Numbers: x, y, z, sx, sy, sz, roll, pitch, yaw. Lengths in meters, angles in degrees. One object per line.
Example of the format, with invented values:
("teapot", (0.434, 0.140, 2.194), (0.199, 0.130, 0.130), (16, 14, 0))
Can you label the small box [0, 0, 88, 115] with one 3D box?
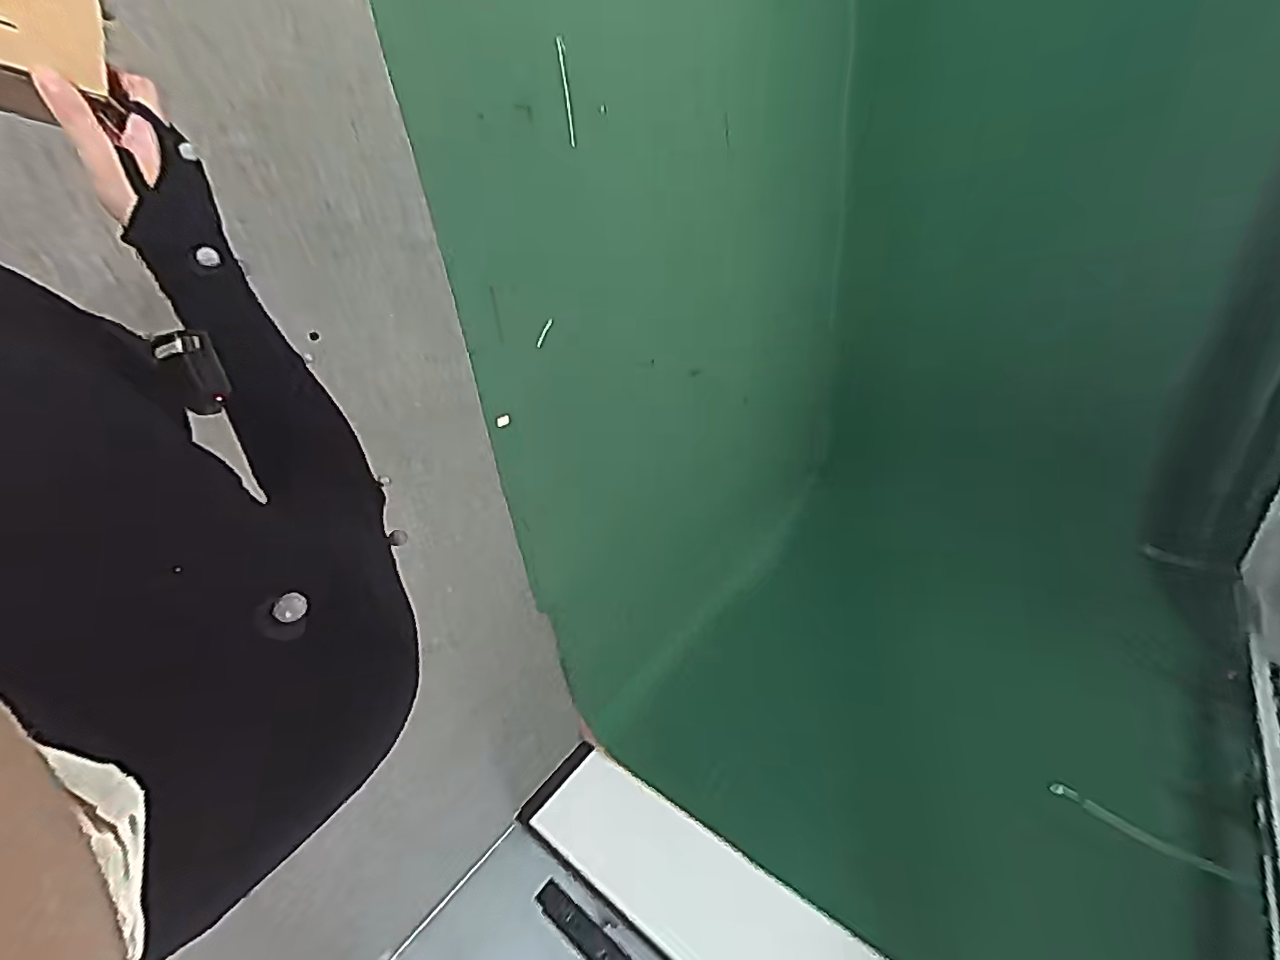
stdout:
("small box", (-0.511, -0.385, 0.371), (0.168, 0.176, 0.179), (-9, 110, -50))
